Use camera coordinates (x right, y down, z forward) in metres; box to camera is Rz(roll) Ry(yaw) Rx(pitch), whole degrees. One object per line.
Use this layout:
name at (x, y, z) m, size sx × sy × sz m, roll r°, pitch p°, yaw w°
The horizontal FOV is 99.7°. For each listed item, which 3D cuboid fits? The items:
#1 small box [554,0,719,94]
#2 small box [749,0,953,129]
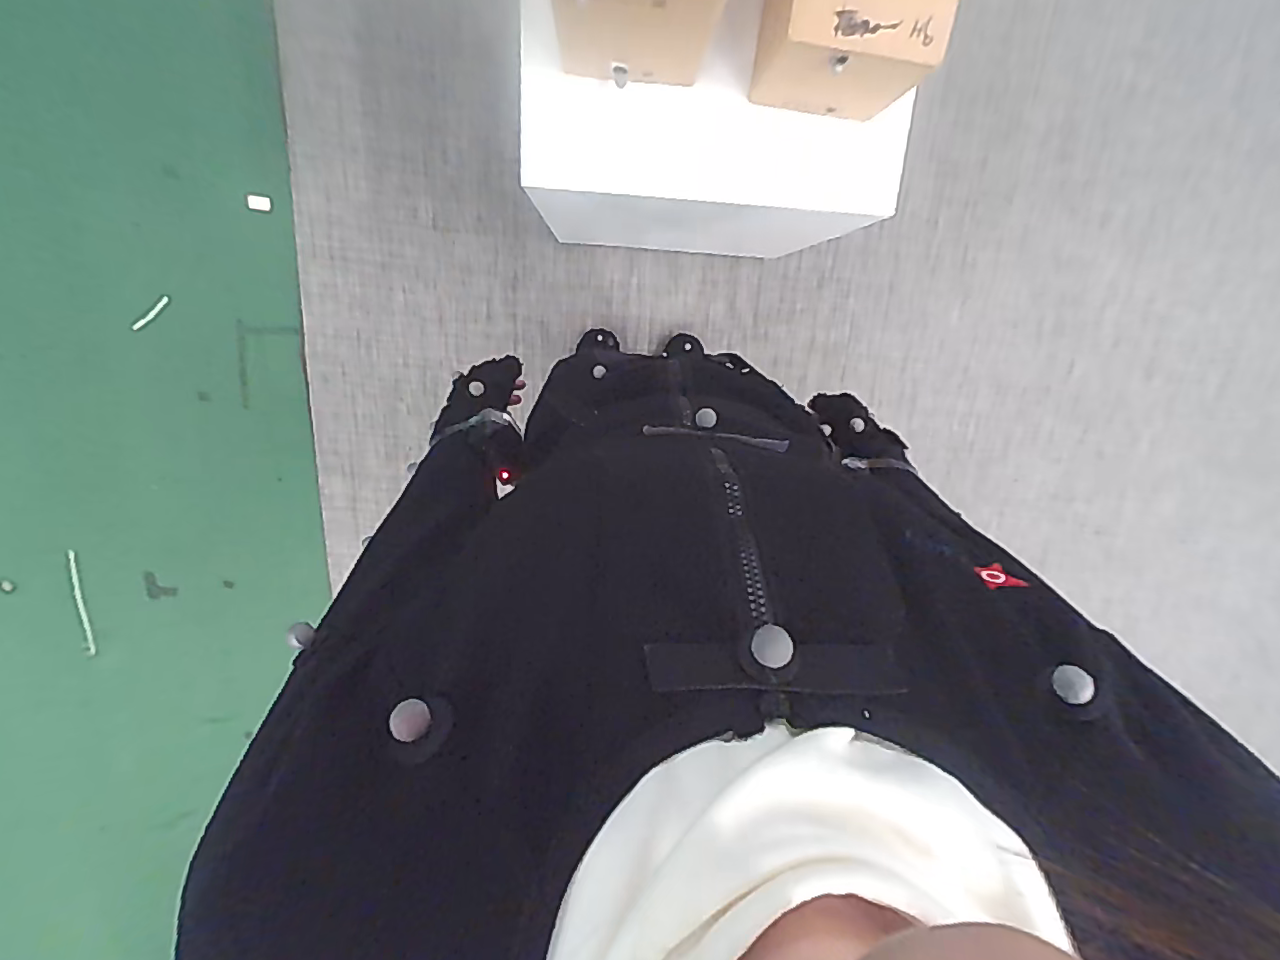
small box at (-0.003, -0.560, 0.589) m, size 0.168 × 0.176 × 0.179 m, roll 1°, pitch 108°, yaw -2°
small box at (0.231, -0.533, 0.607) m, size 0.168 × 0.176 × 0.179 m, roll 7°, pitch 105°, yaw -4°
